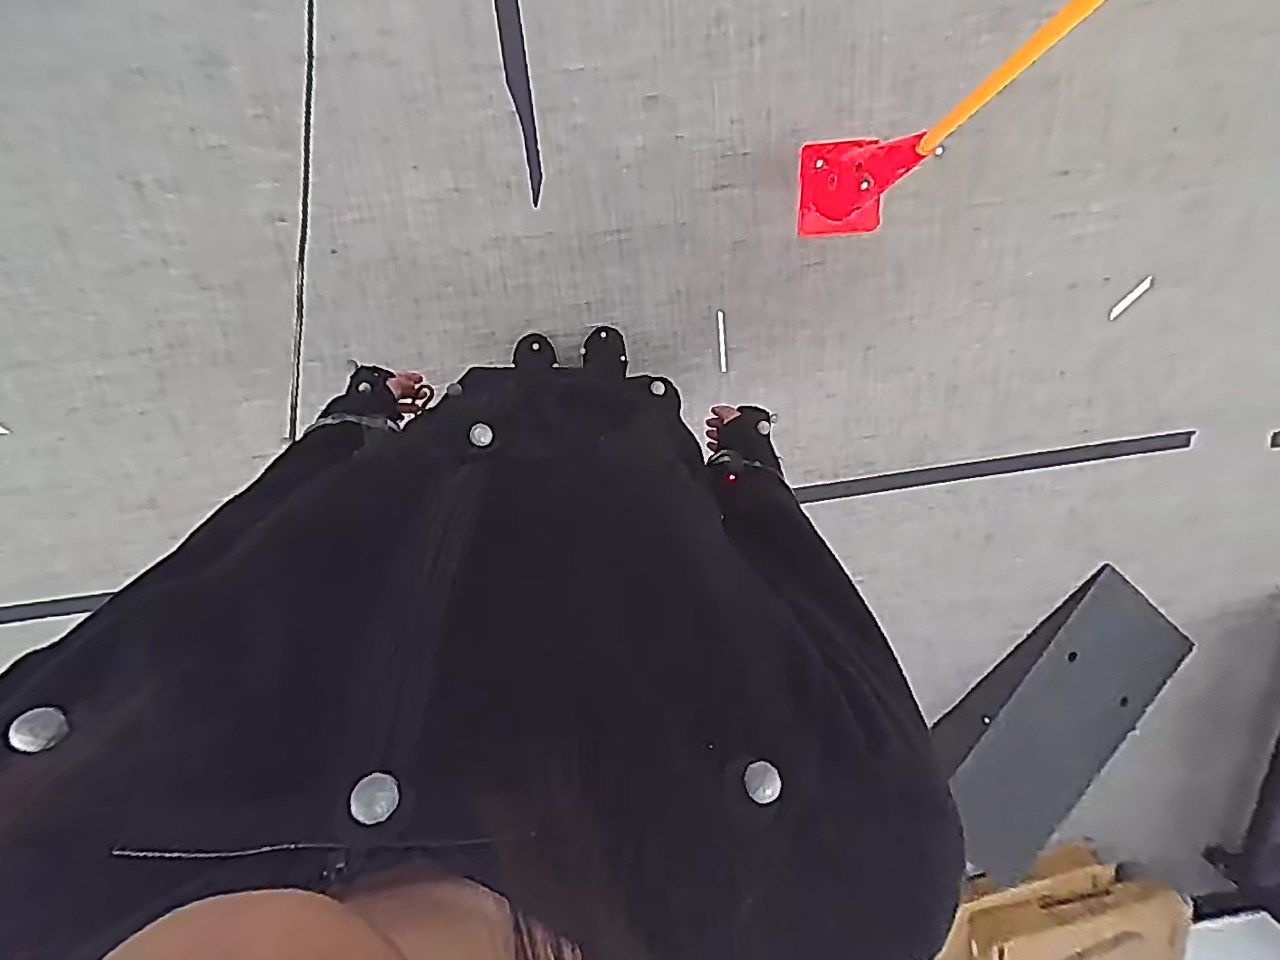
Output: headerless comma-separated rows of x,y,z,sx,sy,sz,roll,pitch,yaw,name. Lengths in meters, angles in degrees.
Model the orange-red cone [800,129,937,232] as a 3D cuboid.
0.487,-0.638,1.103,0.198,0.360,0.199,-4,108,-3,orange-red cone
